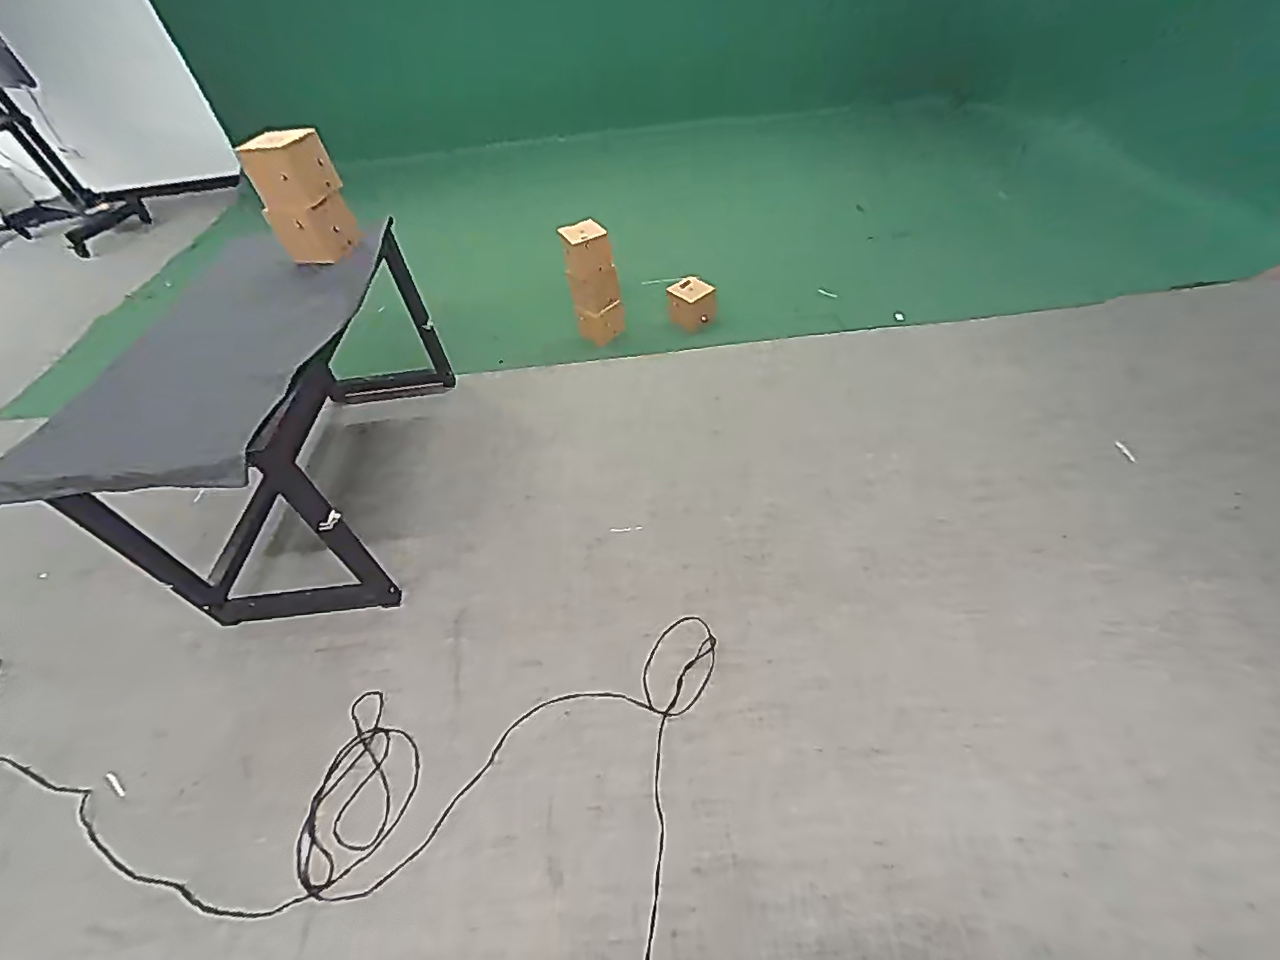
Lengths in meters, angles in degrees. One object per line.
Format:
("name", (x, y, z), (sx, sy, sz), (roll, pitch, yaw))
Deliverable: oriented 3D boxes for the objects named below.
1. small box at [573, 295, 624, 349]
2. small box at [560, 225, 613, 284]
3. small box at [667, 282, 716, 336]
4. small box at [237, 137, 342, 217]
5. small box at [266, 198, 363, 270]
("small box", (-0.193, -0.756, 2.605), (0.179, 0.176, 0.168), (31, 59, 31))
("small box", (-0.235, -0.987, 2.374), (0.168, 0.176, 0.179), (-25, 50, -15))
("small box", (0.247, -0.823, 2.606), (0.168, 0.176, 0.179), (-36, 54, -23))
("small box", (-1.062, -0.926, 1.658), (0.179, 0.176, 0.168), (3, 48, 14))
("small box", (-1.052, -0.803, 1.766), (0.179, 0.176, 0.168), (7, 50, 17))
